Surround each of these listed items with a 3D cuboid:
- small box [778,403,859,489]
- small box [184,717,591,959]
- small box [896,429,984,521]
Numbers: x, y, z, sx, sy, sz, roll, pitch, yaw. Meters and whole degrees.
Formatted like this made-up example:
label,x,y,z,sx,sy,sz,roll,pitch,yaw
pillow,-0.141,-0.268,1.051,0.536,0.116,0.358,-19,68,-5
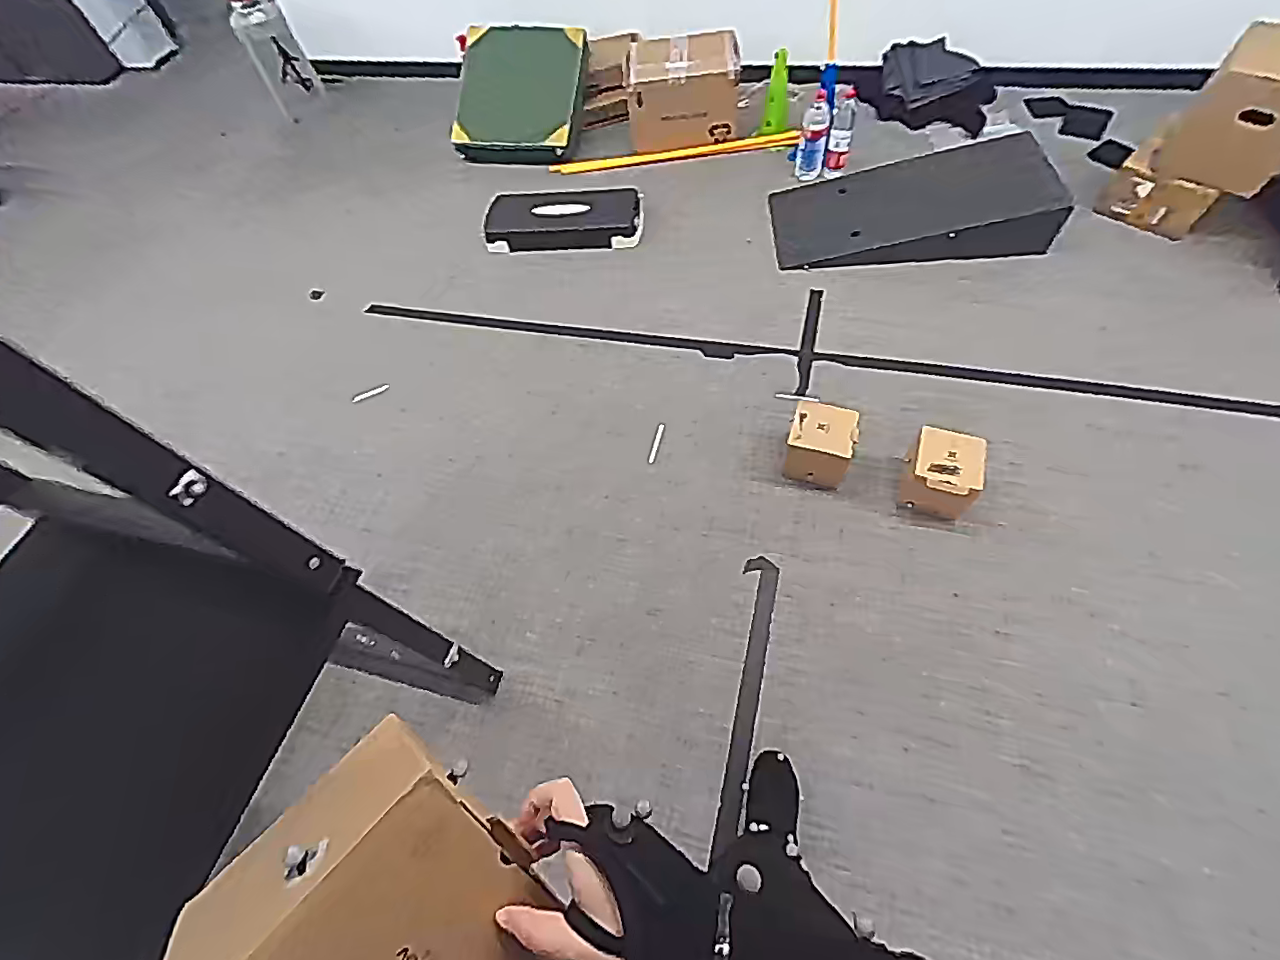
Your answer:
label,x,y,z,sx,sy,sz,roll,pitch,yaw
small box,0.520,-0.094,1.590,0.179,0.176,0.168,16,62,14
small box,-0.173,0.295,0.370,0.179,0.176,0.168,-41,103,-31
small box,0.831,-0.010,1.509,0.168,0.176,0.179,16,61,14
